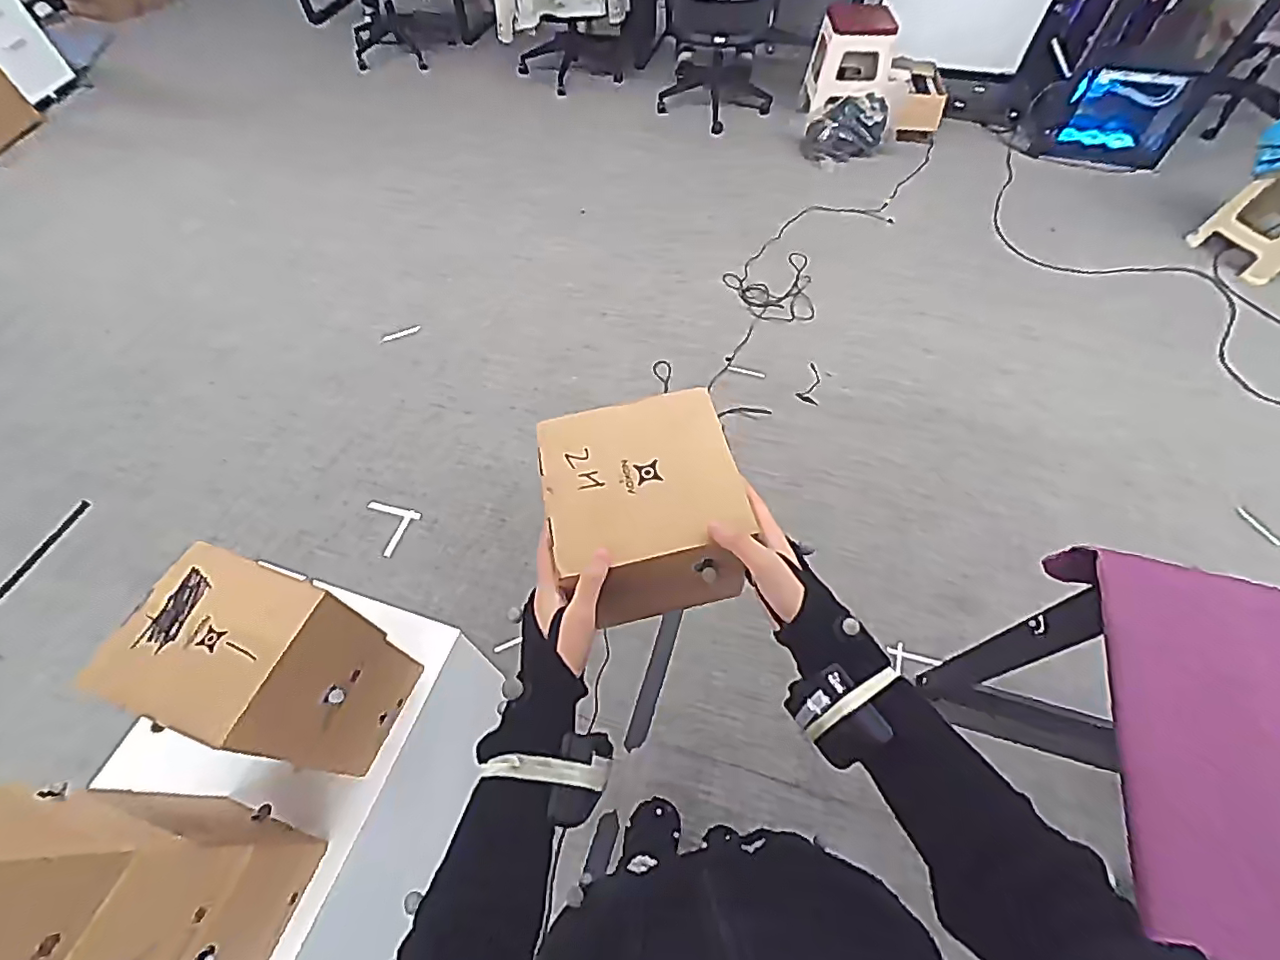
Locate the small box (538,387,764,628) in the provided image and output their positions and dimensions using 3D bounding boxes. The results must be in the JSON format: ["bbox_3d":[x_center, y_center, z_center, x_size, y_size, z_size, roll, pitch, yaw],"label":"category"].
[{"bbox_3d":[0.007,0.035,0.551,0.179,0.176,0.168,-13,60,-3],"label":"small box"}]

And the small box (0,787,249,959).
[{"bbox_3d":[-0.519,0.398,0.493,0.179,0.176,0.168,14,59,10],"label":"small box"}]

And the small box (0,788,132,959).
[{"bbox_3d":[-0.522,0.310,0.357,0.179,0.176,0.168,14,60,9],"label":"small box"}]

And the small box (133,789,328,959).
[{"bbox_3d":[-0.519,0.485,0.630,0.179,0.176,0.168,15,60,11],"label":"small box"}]

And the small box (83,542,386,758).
[{"bbox_3d":[-0.434,0.199,0.615,0.179,0.176,0.168,17,60,10],"label":"small box"}]
